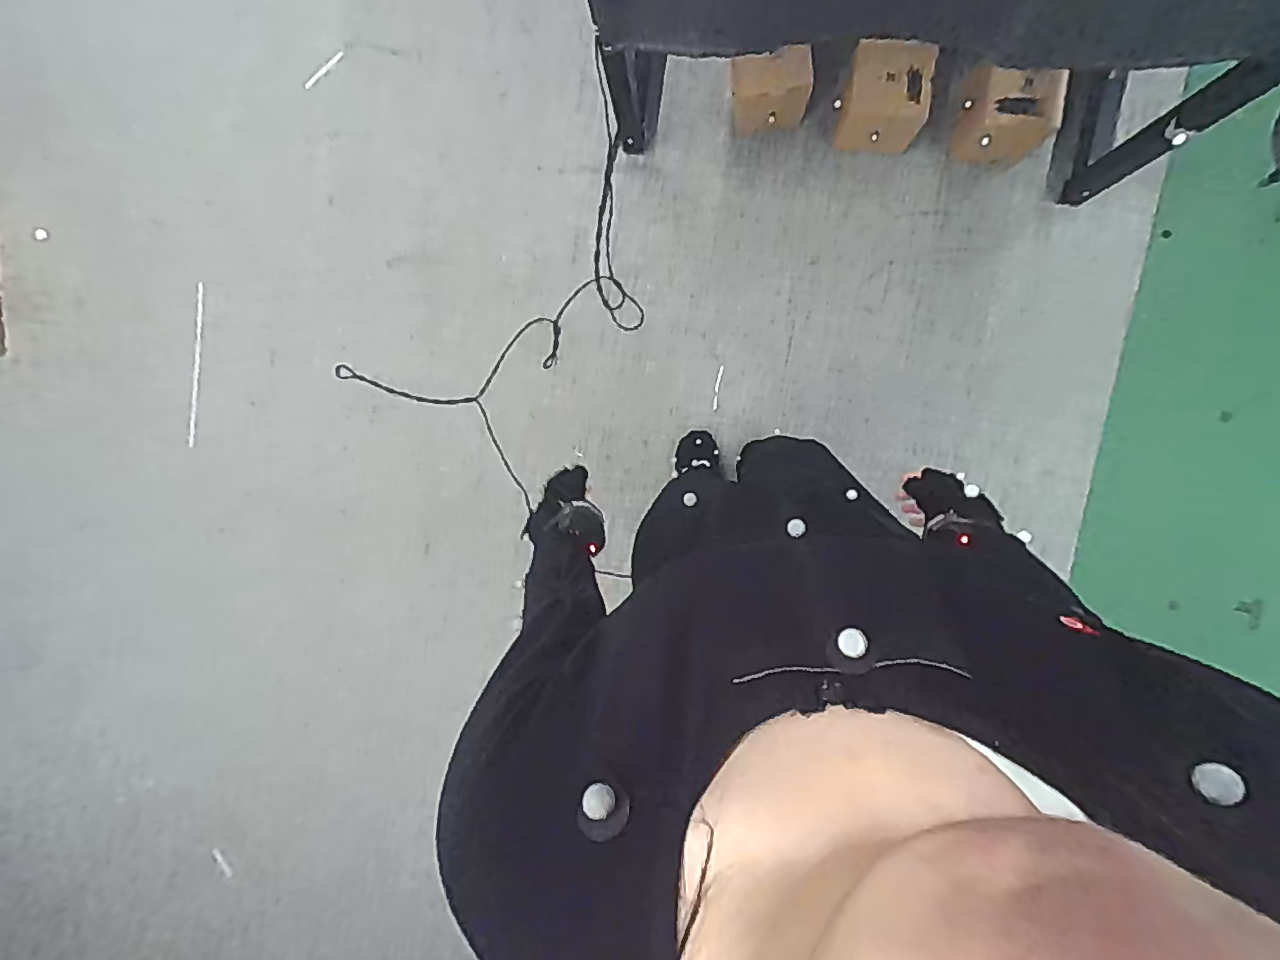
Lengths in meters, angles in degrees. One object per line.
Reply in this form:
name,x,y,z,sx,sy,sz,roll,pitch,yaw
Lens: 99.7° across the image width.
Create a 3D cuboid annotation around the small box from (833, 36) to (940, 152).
small box,0.581,-0.914,1.296,0.179,0.176,0.168,7,95,5
